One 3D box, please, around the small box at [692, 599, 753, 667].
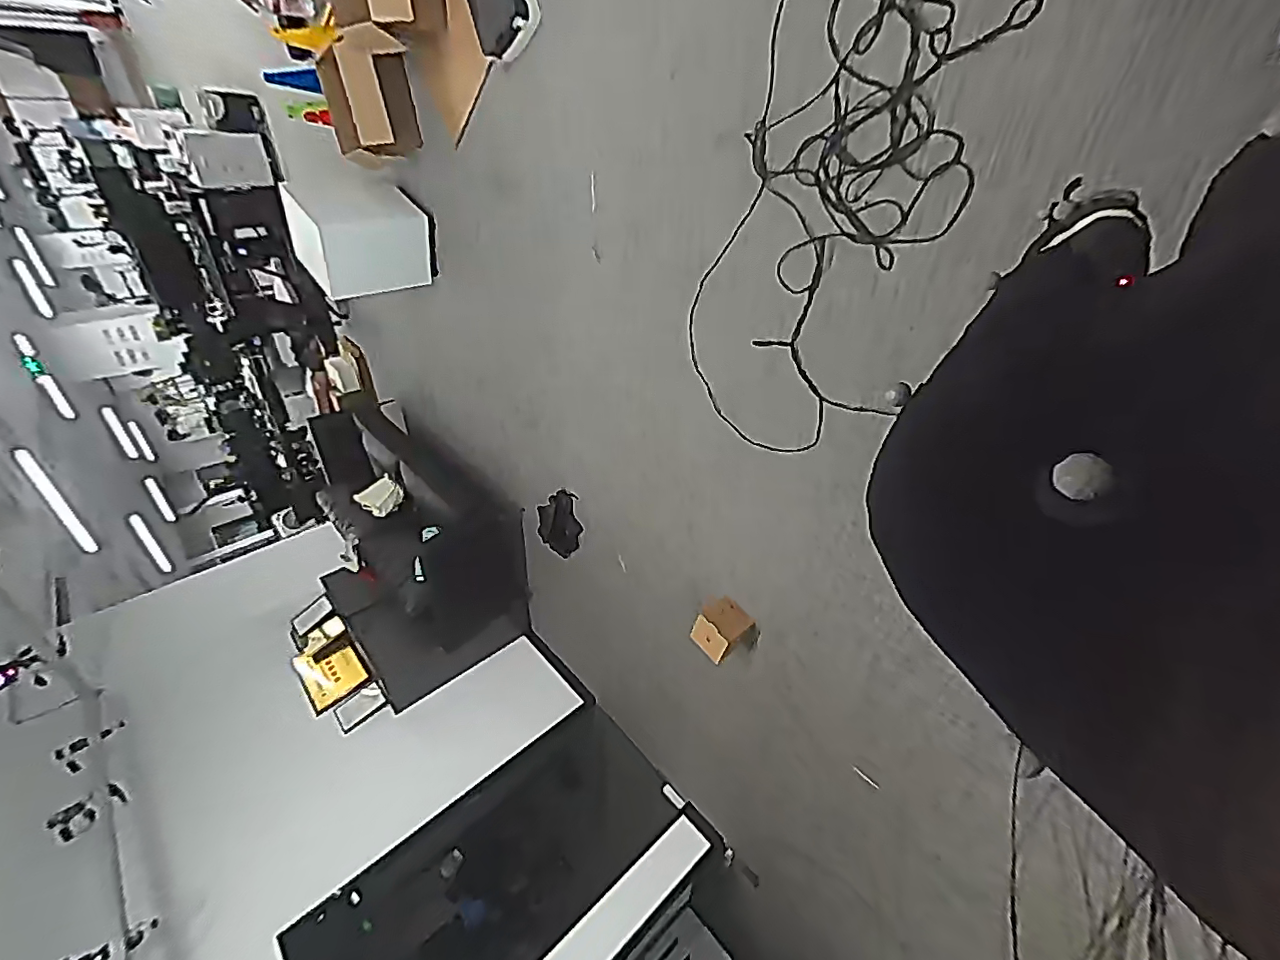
[{"bbox_3d":[0.344,0.629,2.240,0.168,0.176,0.179,43,141,30],"label":"small box"}]
